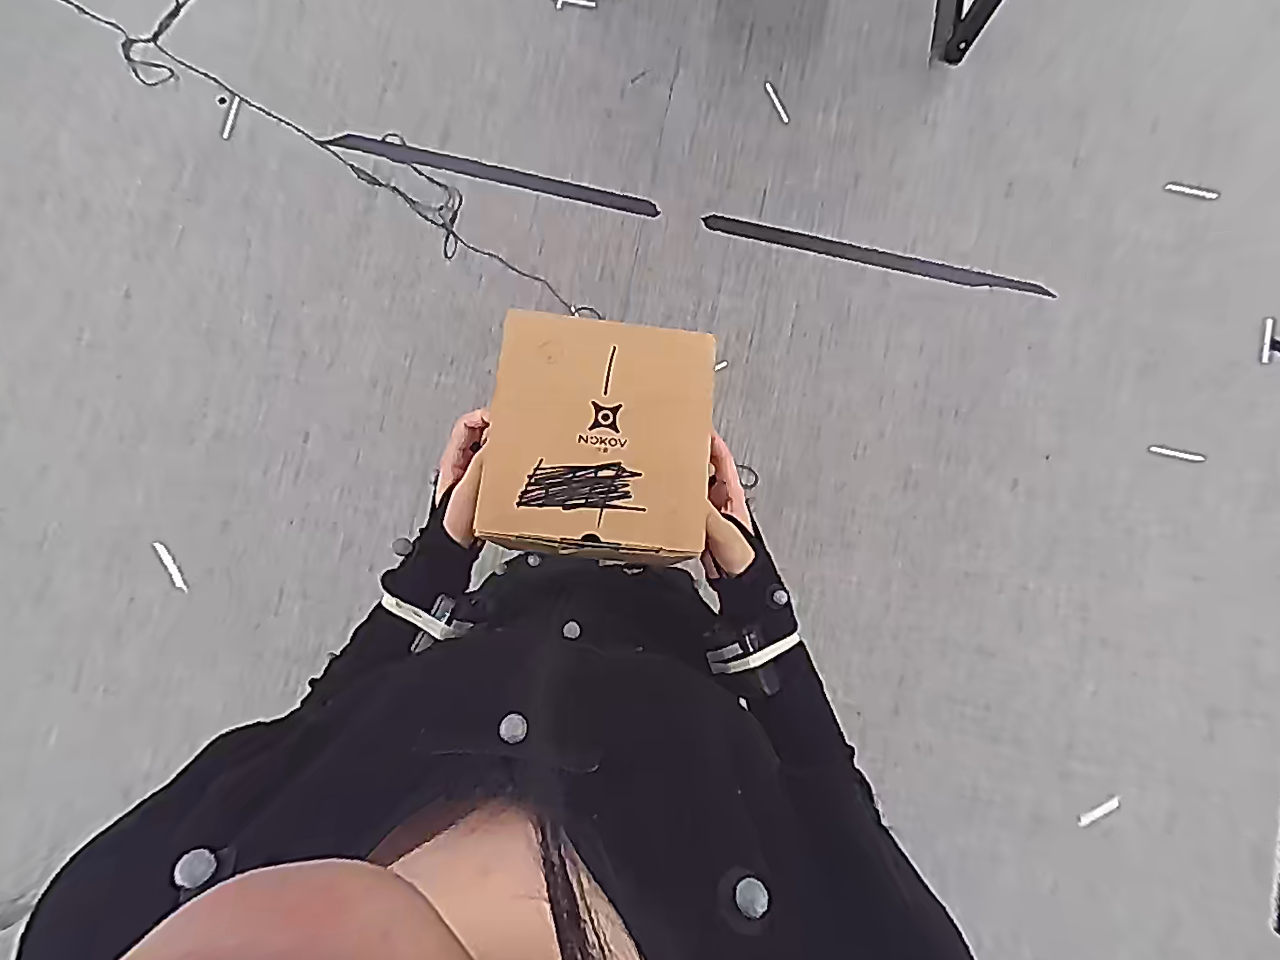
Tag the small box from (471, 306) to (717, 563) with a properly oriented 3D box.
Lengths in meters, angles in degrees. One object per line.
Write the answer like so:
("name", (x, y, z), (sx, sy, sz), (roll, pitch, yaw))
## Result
("small box", (-0.037, -0.023, 0.477), (0.168, 0.176, 0.179), (7, 77, -5))
